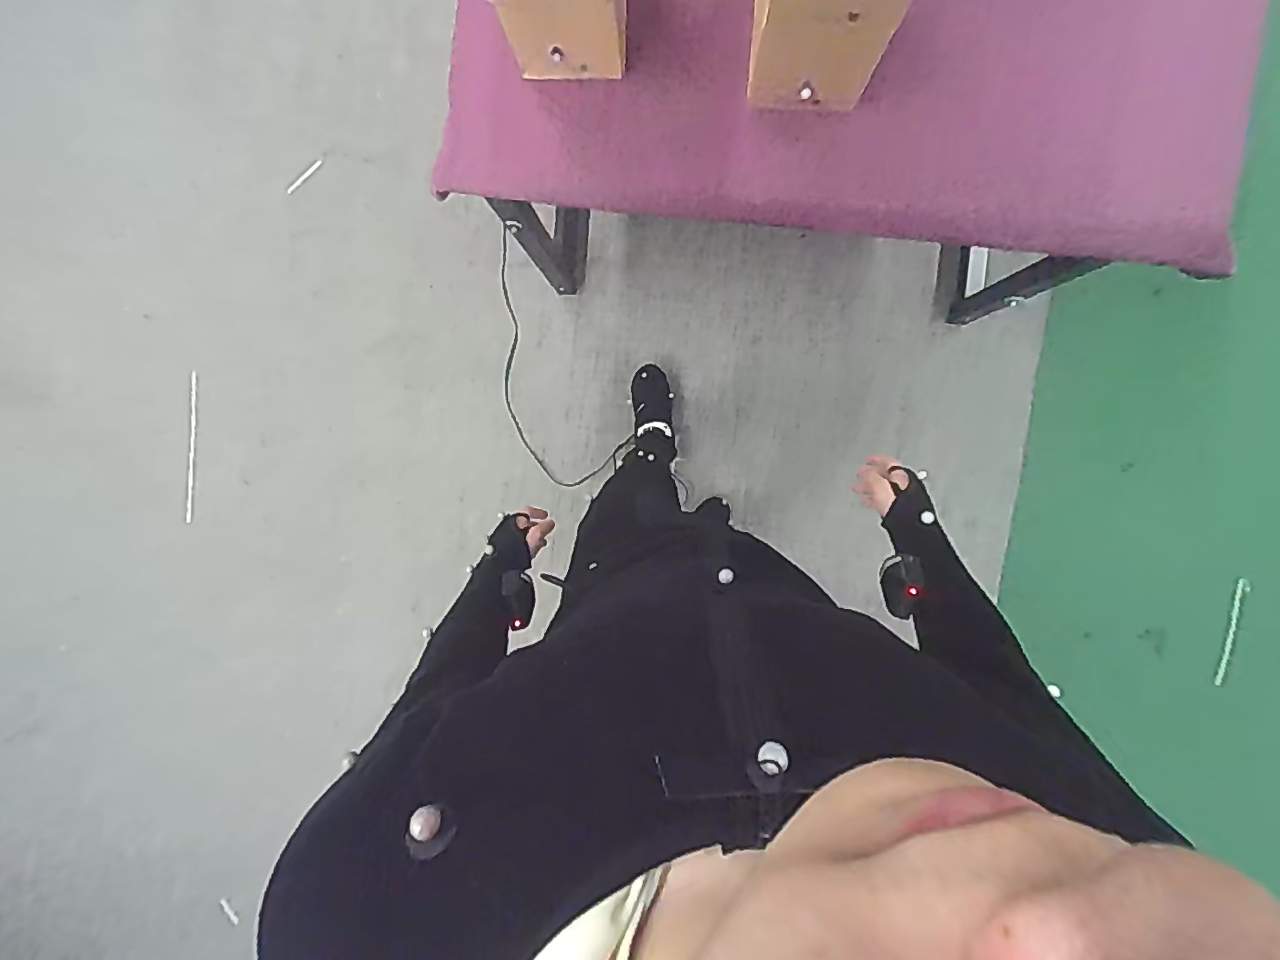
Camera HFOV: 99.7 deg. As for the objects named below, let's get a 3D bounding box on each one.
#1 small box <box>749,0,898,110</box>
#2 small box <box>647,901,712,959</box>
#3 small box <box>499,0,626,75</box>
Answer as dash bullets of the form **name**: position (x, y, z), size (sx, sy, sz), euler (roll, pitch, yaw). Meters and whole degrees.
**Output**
- **small box**: position (0.249, -0.659, 0.749), size (0.168, 0.176, 0.179), euler (5, 94, 4)
- **small box**: position (0.111, 1.378, 1.559), size (0.168, 0.176, 0.179), euler (11, 94, 3)
- **small box**: position (-0.109, -0.724, 0.770), size (0.168, 0.176, 0.179), euler (2, 94, 3)
